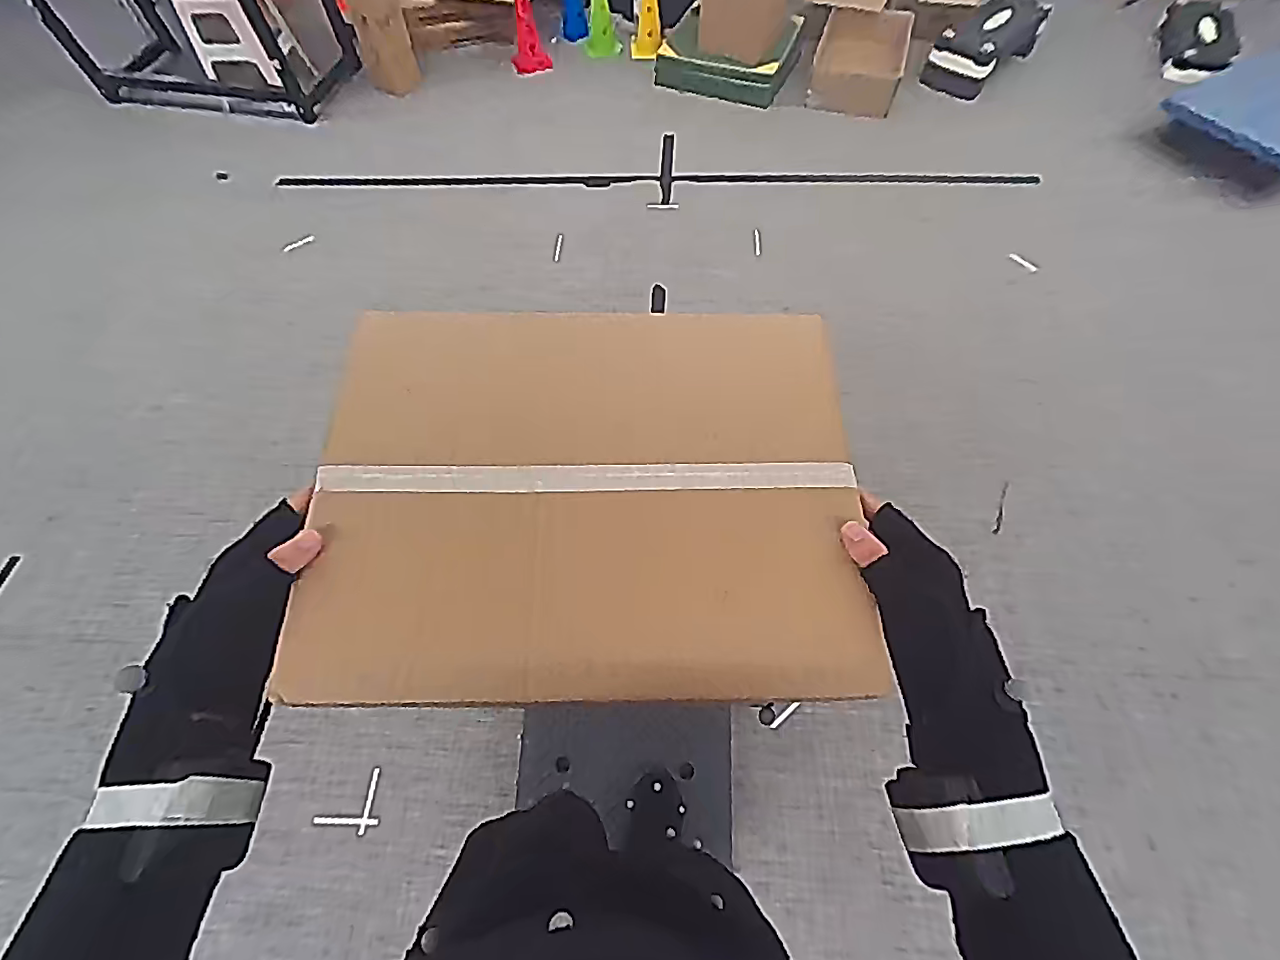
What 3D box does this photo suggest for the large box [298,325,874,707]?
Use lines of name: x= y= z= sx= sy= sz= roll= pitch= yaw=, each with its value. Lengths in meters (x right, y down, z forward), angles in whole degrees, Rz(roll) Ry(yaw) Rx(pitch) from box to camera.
large box: x=-0.039 y=0.061 z=0.562 sx=0.408 sy=0.320 sz=0.320 roll=0 pitch=67 yaw=-1
